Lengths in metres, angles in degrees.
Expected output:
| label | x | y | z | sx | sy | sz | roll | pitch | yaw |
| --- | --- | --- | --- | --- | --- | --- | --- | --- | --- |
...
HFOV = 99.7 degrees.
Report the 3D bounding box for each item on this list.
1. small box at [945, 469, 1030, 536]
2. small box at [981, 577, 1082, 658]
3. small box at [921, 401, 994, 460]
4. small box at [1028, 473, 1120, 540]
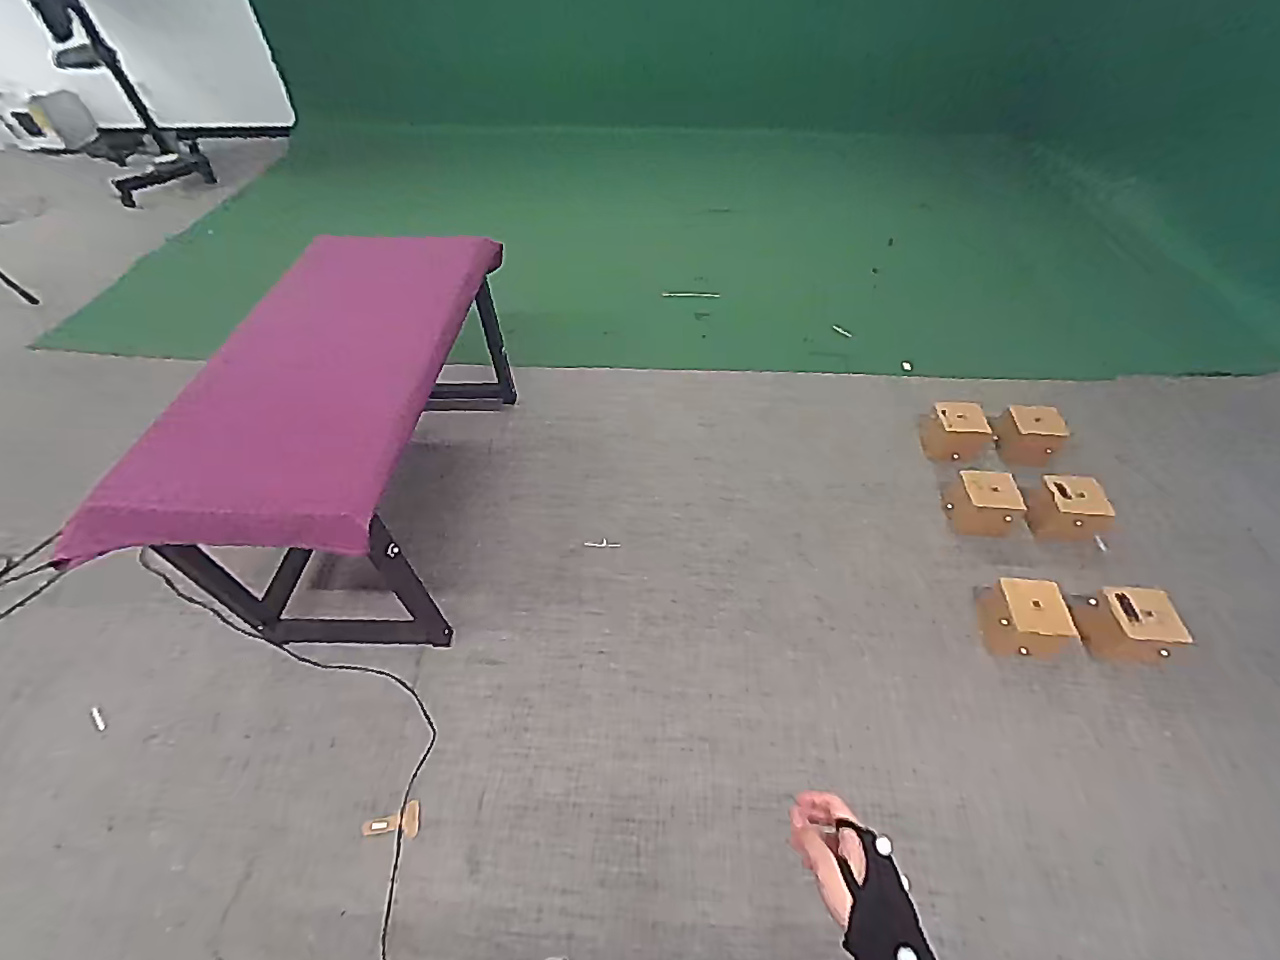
| label | x | y | z | sx | sy | sz | roll | pitch | yaw |
| --- | --- | --- | --- | --- | --- | --- | --- | --- | --- |
| small box | 1.212 | 0.081 | 1.901 | 0.179 | 0.176 | 0.168 | 3 | 50 | 5 |
| small box | 1.163 | 0.413 | 1.625 | 0.168 | 0.176 | 0.179 | 3 | 51 | 5 |
| small box | 1.244 | -0.191 | 2.131 | 0.179 | 0.176 | 0.168 | 3 | 49 | 3 |
| small box | 1.488 | 0.096 | 1.877 | 0.179 | 0.176 | 0.168 | 4 | 50 | 5 |
